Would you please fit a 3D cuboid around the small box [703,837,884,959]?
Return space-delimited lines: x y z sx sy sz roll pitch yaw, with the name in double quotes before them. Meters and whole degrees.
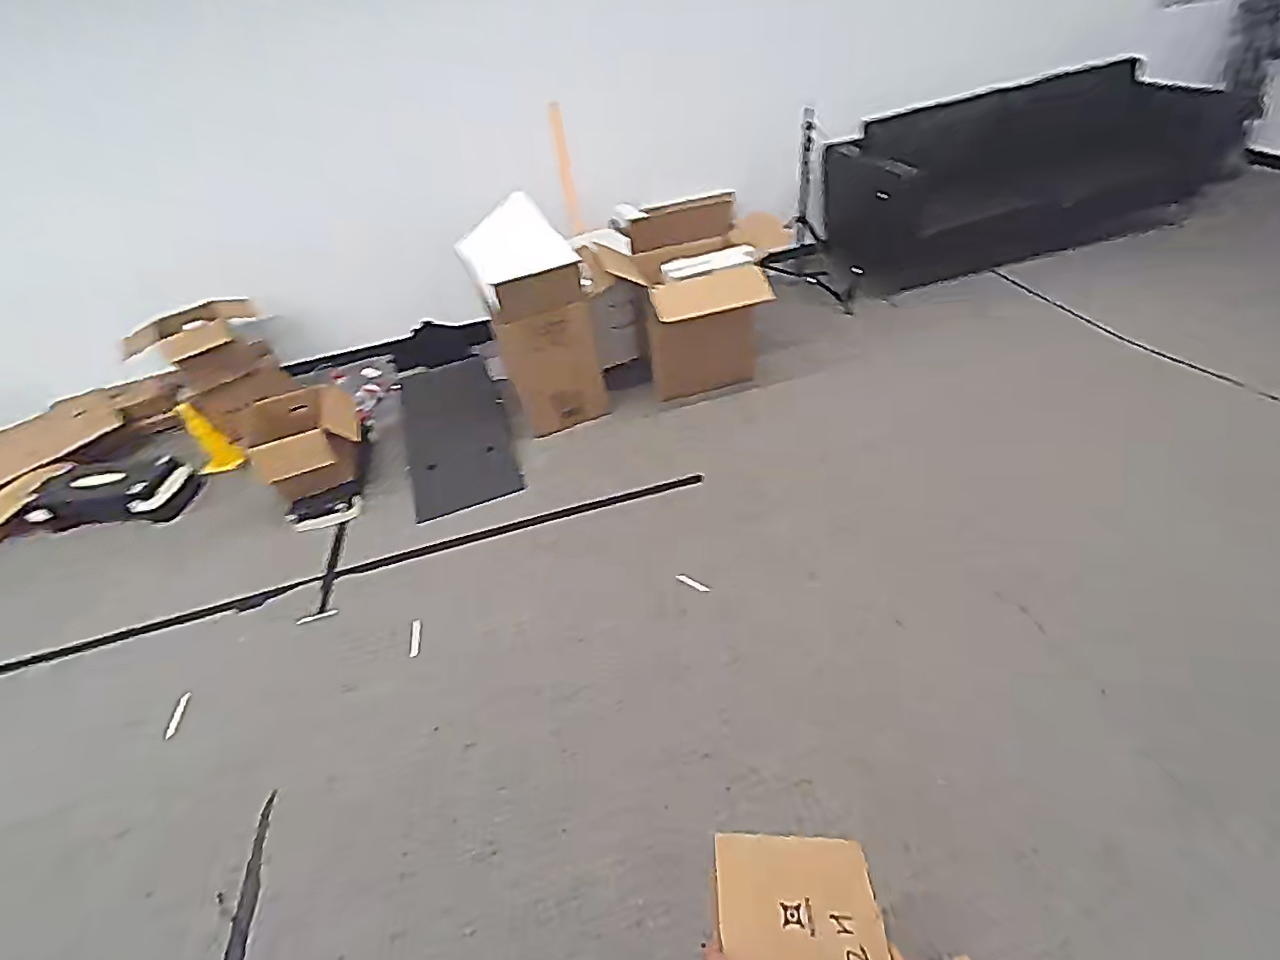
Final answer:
"small box" 0.162 0.538 0.609 0.179 0.176 0.168 1 29 3
